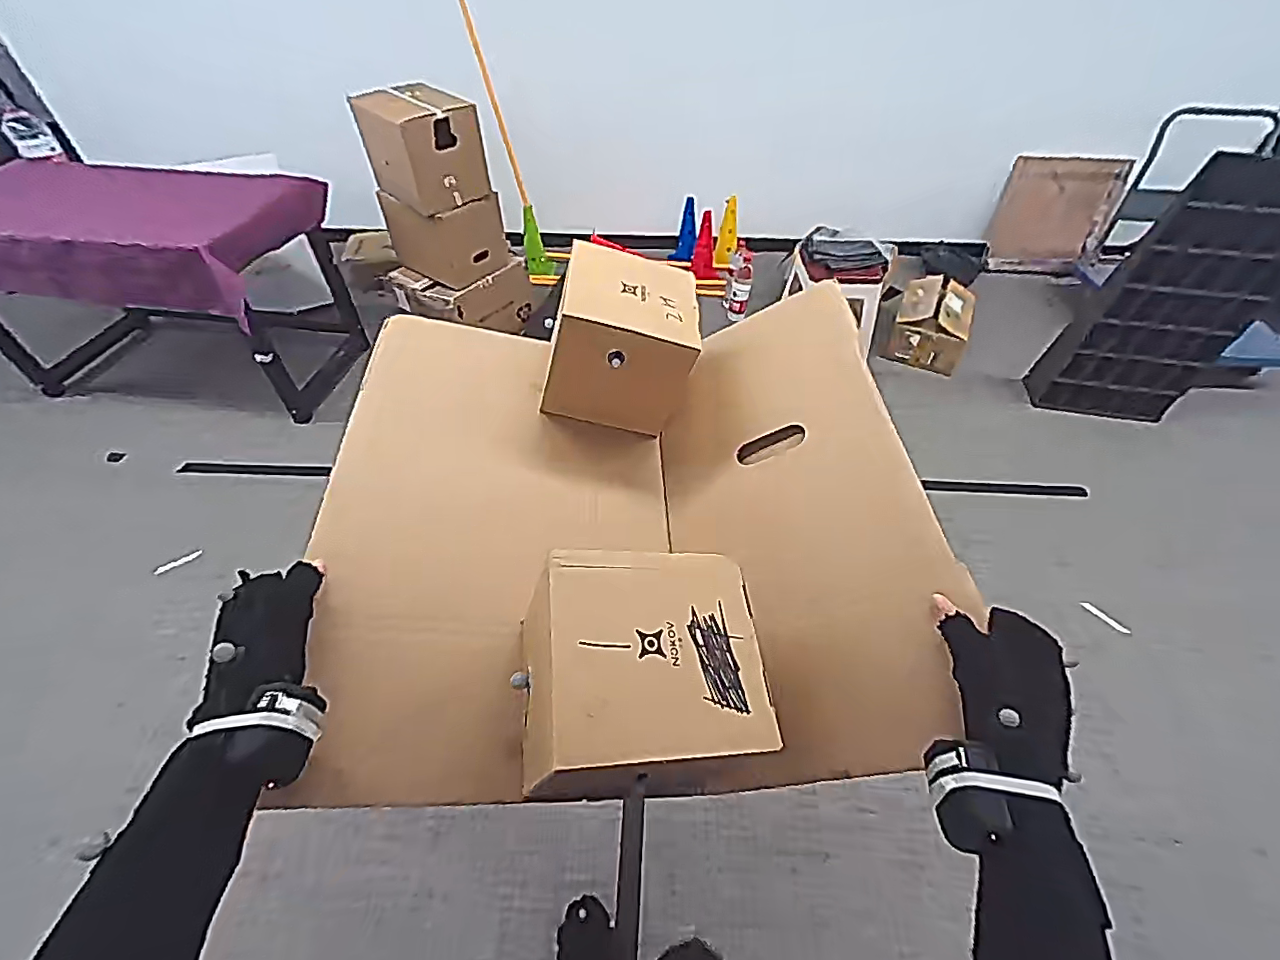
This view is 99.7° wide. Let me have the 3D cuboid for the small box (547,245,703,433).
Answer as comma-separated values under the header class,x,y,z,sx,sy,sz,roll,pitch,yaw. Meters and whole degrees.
class,x,y,z,sx,sy,sz,roll,pitch,yaw
small box,-0.025,-0.187,0.753,0.179,0.176,0.168,13,52,-13
